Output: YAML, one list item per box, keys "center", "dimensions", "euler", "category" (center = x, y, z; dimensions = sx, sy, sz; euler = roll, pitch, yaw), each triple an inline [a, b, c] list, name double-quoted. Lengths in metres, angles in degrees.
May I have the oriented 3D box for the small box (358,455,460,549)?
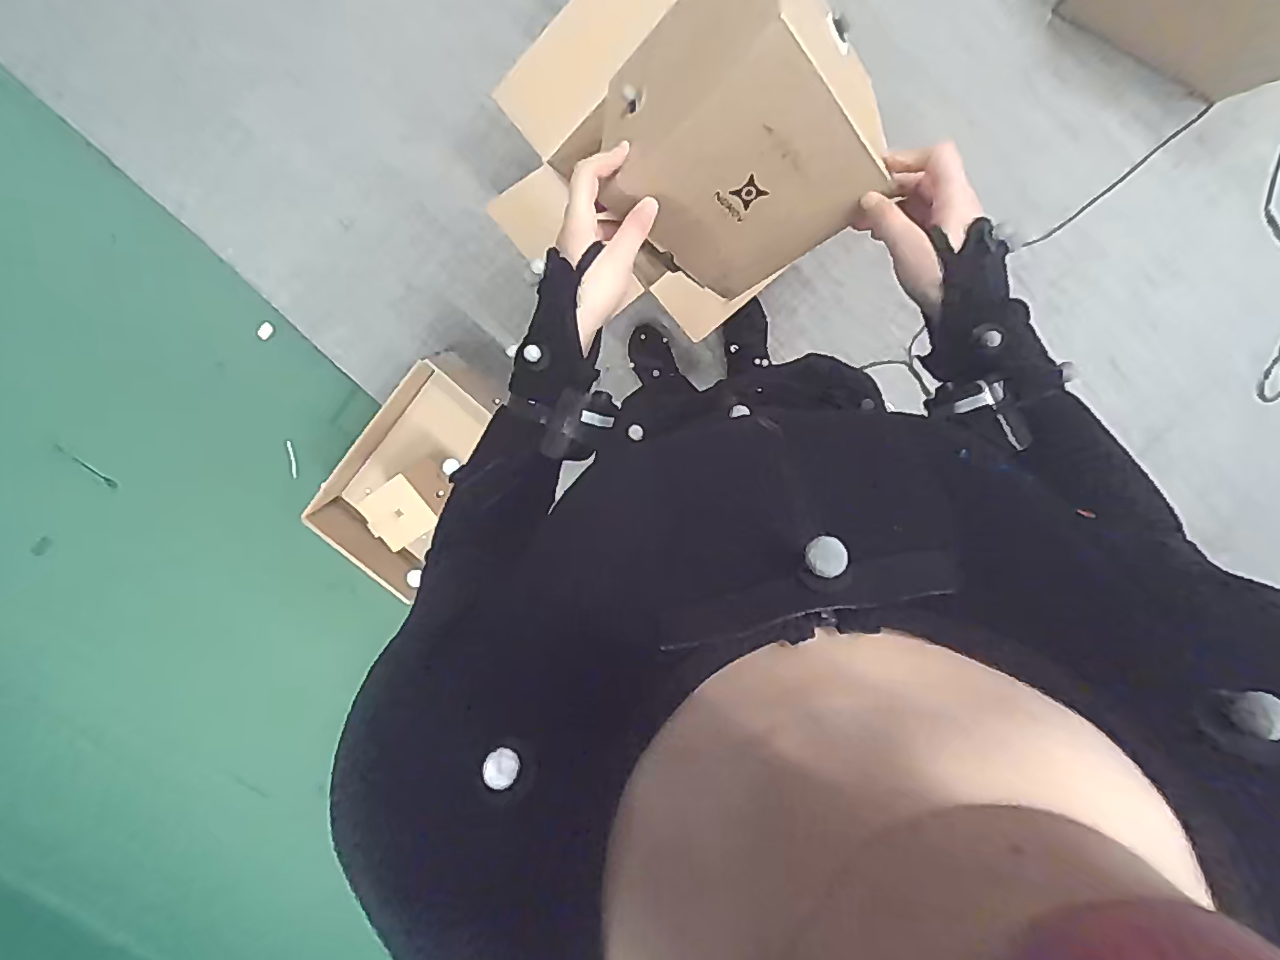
- center: [-0.623, 0.054, 1.494]
  dimensions: [0.179, 0.176, 0.168]
  euler: [-31, 103, 15]
  category: "small box"

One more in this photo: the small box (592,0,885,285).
- center: [0.080, -0.316, 0.466]
  dimensions: [0.168, 0.176, 0.179]
  euler: [24, 146, -38]
  category: "small box"
